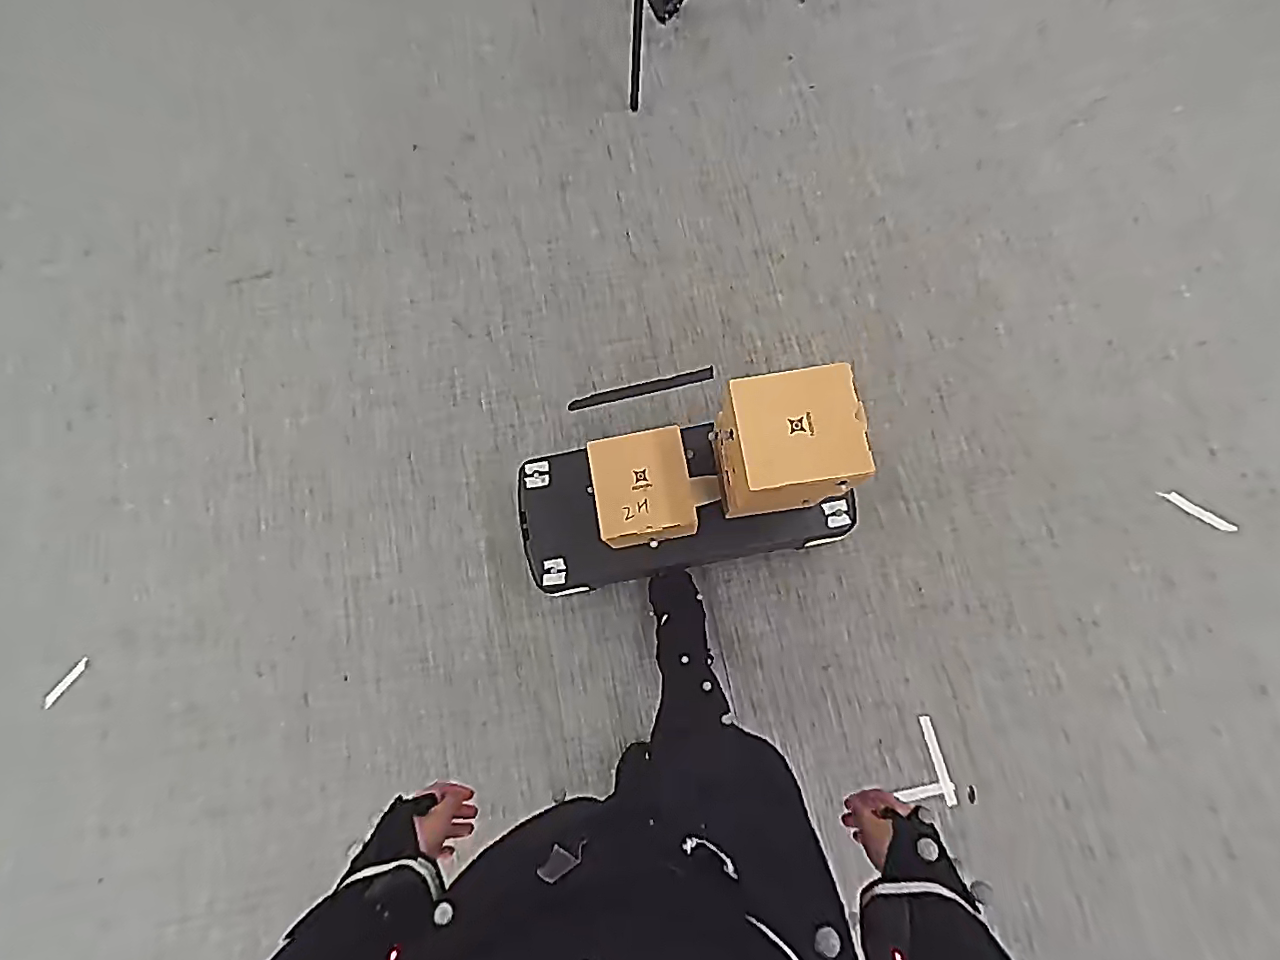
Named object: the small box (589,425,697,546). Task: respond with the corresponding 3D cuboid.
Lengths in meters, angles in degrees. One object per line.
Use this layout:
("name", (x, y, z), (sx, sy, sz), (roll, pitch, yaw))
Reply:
("small box", (0.007, 0.017, 0.996), (0.168, 0.176, 0.179), (-10, 78, 2))

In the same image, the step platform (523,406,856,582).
("step platform", (0.098, 0.019, 1.167), (0.684, 0.204, 0.286), (-12, 77, 2))

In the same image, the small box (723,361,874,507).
("small box", (0.227, -0.061, 0.830), (0.179, 0.176, 0.168), (-9, 78, 1))
